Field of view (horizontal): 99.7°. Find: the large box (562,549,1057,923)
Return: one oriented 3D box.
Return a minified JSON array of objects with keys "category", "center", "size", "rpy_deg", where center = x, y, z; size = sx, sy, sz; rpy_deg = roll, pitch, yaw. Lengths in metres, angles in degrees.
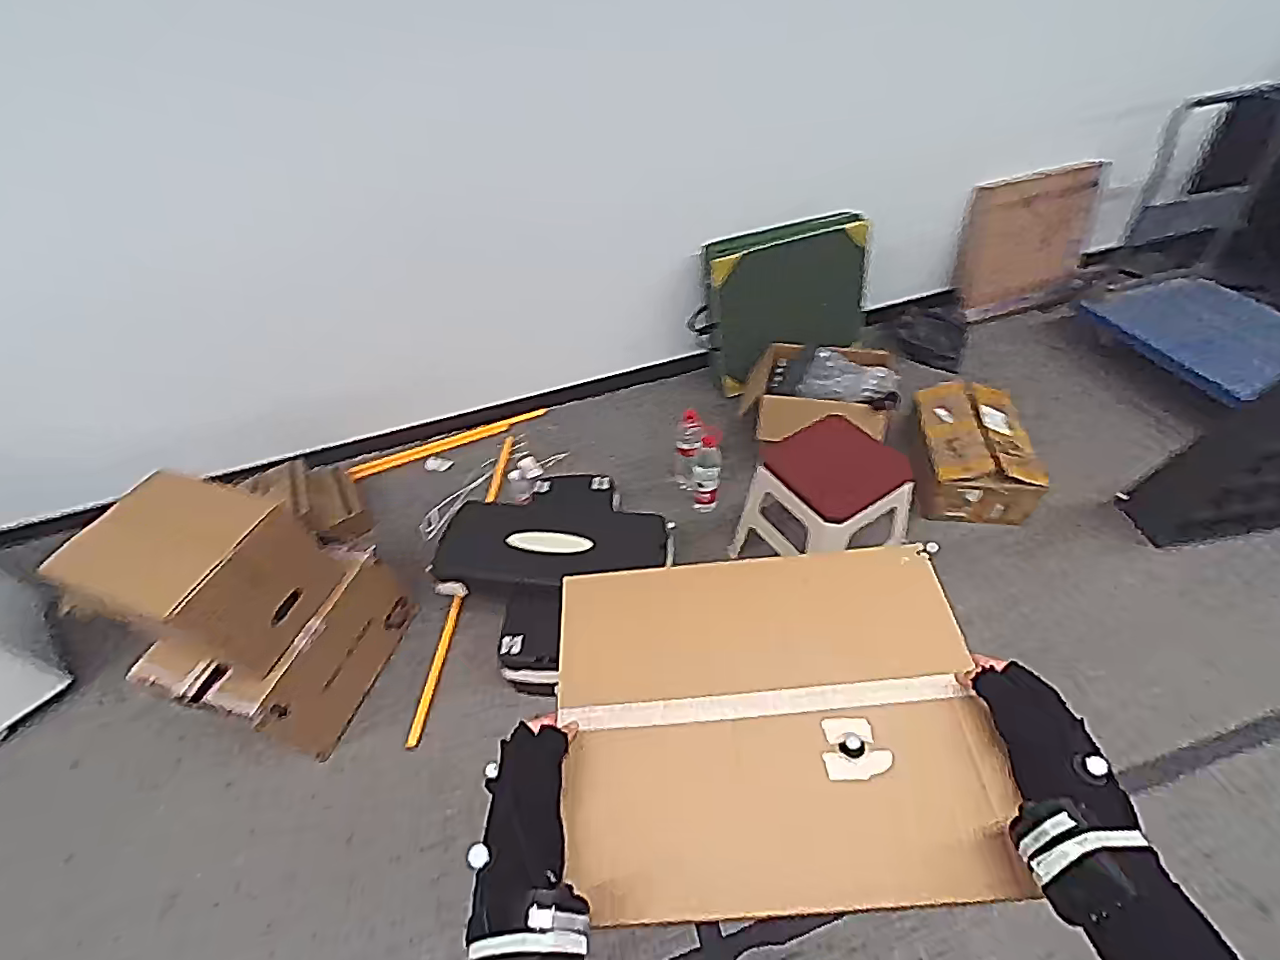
[{"category":"large box","center":[0.137,0.309,0.637],"size":[0.408,0.320,0.320],"rpy_deg":[-5,52,3]}]
